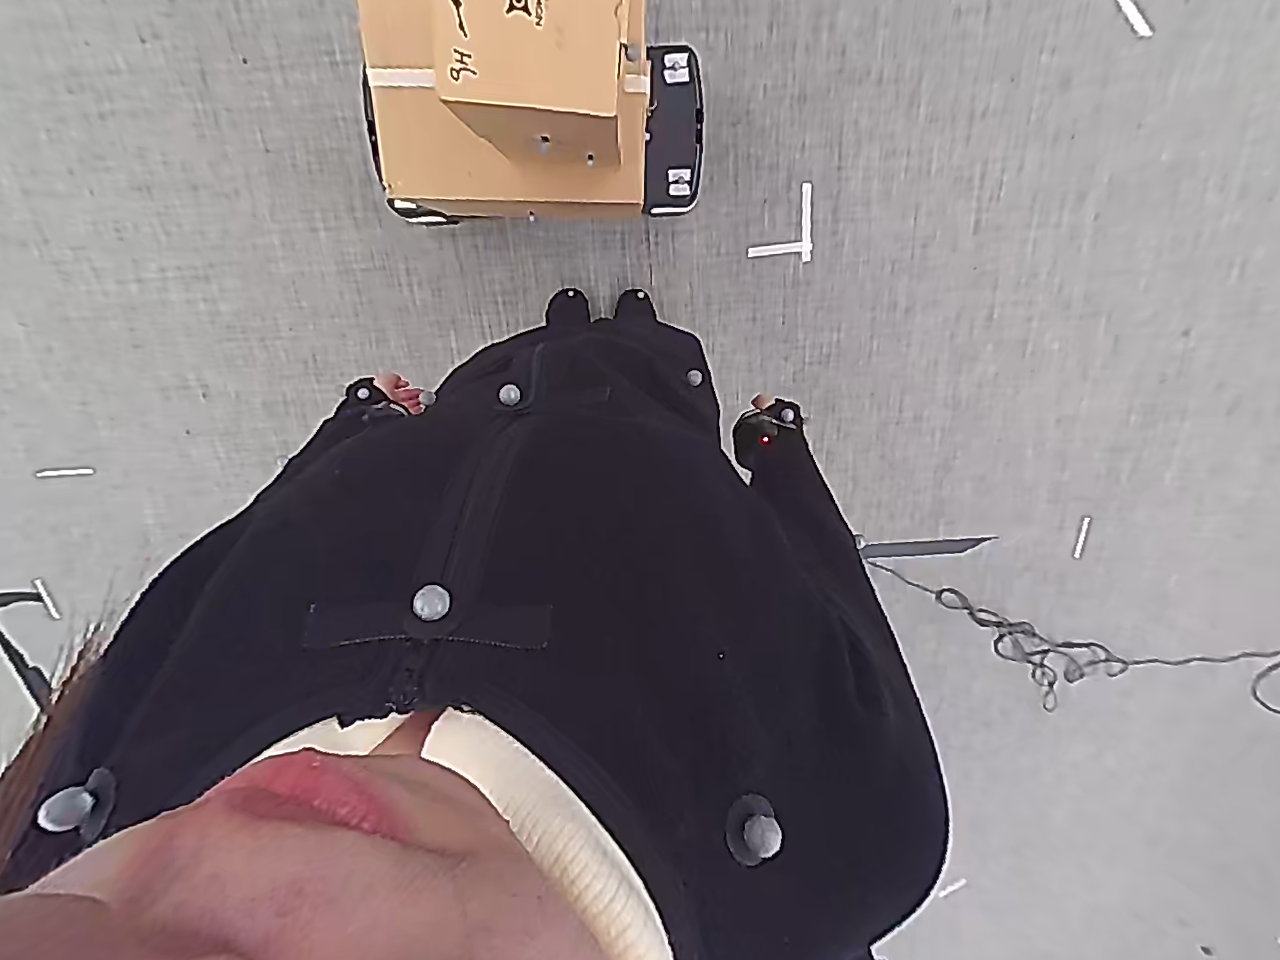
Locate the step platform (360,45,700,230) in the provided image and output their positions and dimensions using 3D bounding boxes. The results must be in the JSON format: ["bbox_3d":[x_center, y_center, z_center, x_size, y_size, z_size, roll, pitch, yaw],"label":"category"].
[{"bbox_3d":[-0.215,-0.710,1.147,0.684,0.204,0.286,2,111,-2],"label":"step platform"}]

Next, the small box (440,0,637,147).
[{"bbox_3d":[-0.094,-0.458,0.554,0.179,0.176,0.168,4,110,-4],"label":"small box"}]

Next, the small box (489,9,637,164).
[{"bbox_3d":[-0.097,-0.522,0.705,0.179,0.176,0.168,3,111,-2],"label":"small box"}]

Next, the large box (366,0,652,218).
[{"bbox_3d":[-0.183,-0.629,0.924,0.408,0.320,0.320,0,110,-1],"label":"large box"}]
